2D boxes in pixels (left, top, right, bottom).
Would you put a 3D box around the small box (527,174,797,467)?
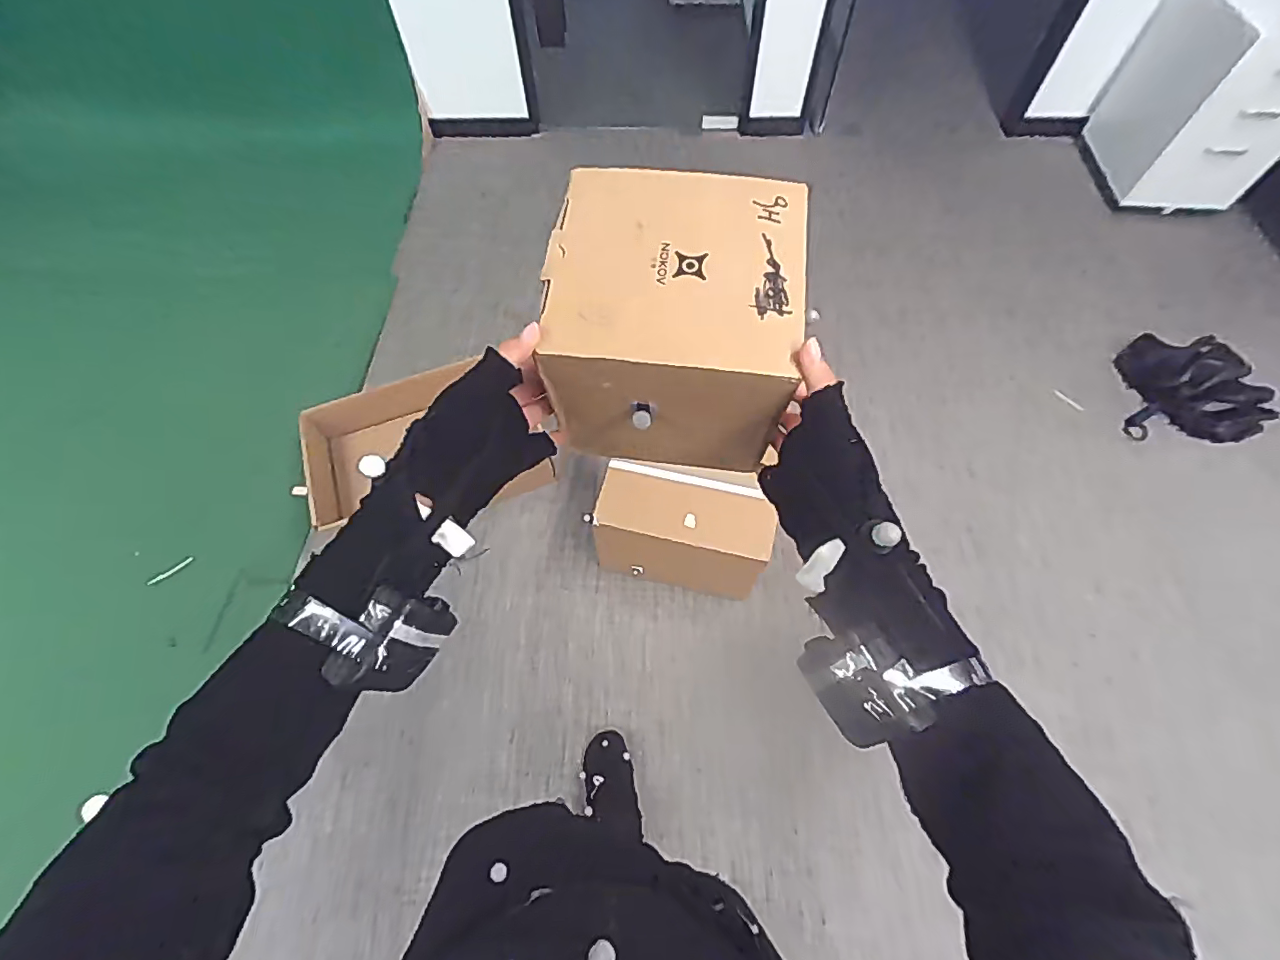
[{"bbox_3d":[0.024,-0.120,0.451,0.179,0.176,0.168,6,70,4],"label":"small box"}]
